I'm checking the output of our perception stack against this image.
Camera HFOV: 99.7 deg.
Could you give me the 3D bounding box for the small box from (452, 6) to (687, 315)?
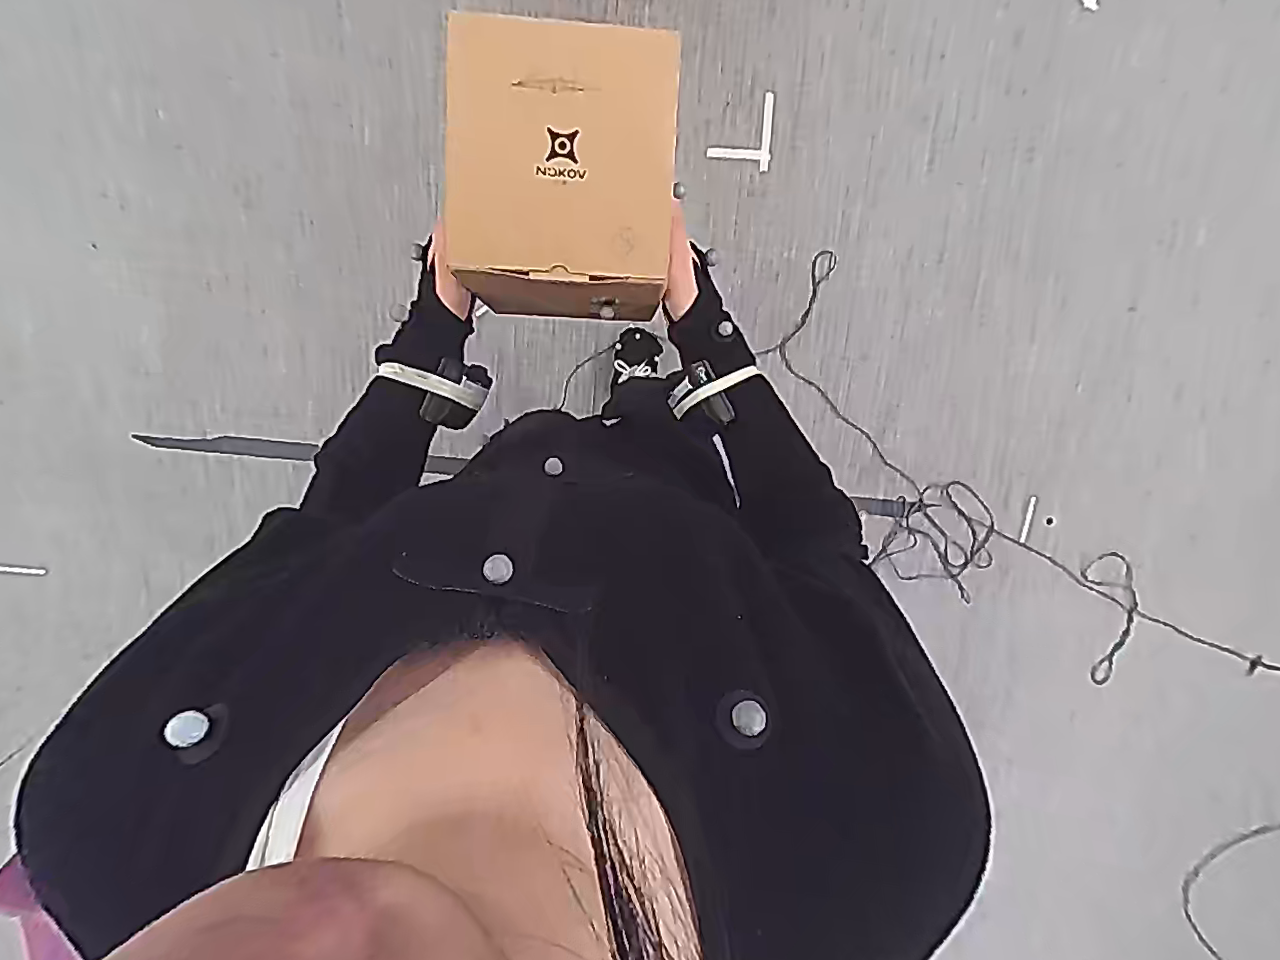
[{"bbox_3d":[-0.057,-0.247,0.467,0.168,0.176,0.179,2,96,-5],"label":"small box"}]
